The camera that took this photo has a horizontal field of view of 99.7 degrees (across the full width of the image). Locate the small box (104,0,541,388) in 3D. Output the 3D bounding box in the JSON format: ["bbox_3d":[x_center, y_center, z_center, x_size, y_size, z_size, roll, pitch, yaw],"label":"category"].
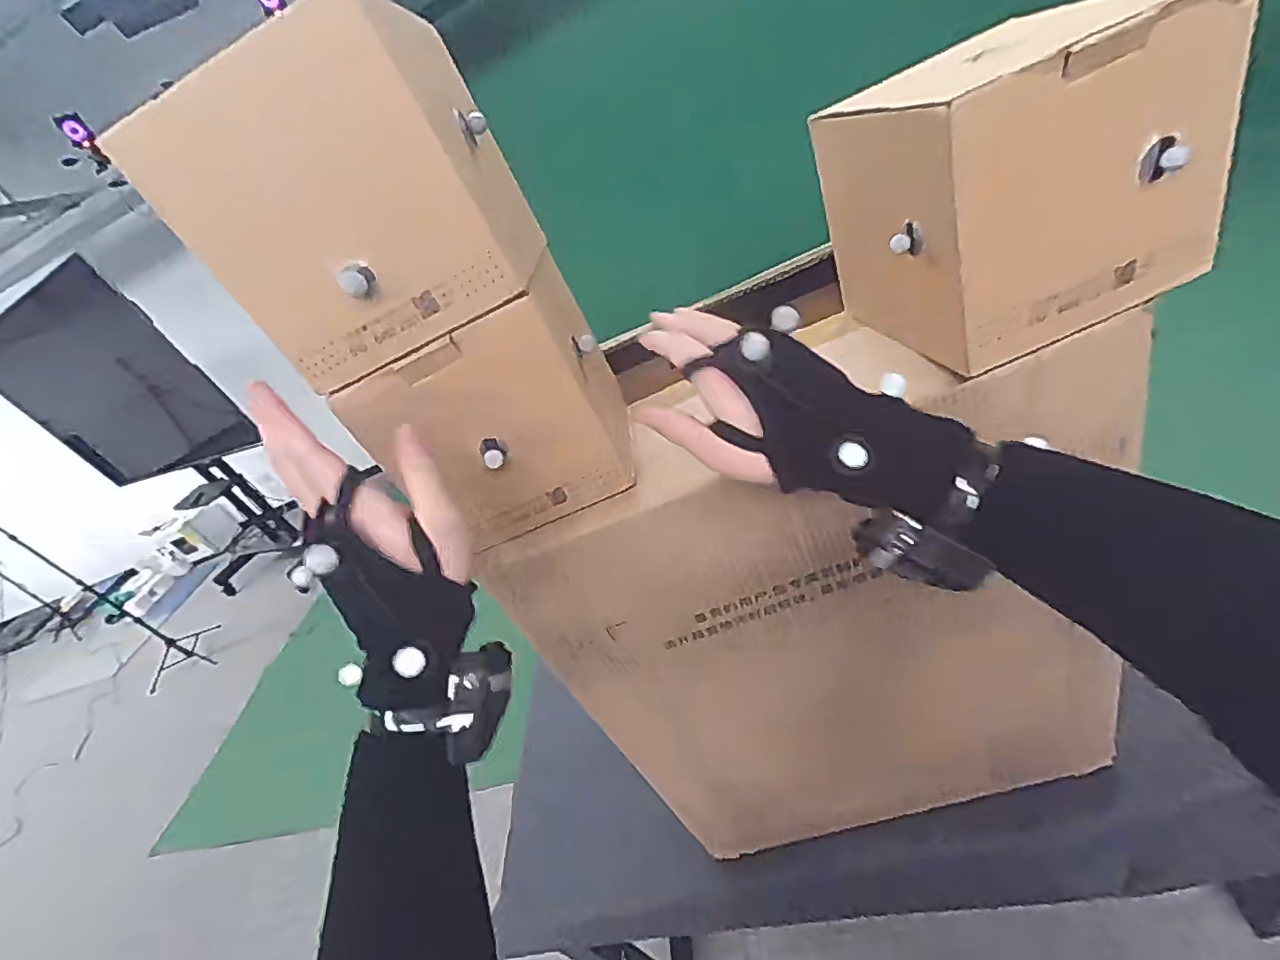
[{"bbox_3d":[-0.185,-0.192,0.385,0.168,0.176,0.179,-23,33,11],"label":"small box"}]

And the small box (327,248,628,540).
[{"bbox_3d":[-0.118,-0.069,0.472,0.168,0.176,0.179,-23,33,10],"label":"small box"}]

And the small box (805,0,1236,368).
[{"bbox_3d":[0.244,-0.200,0.384,0.168,0.176,0.179,-23,31,4],"label":"small box"}]
